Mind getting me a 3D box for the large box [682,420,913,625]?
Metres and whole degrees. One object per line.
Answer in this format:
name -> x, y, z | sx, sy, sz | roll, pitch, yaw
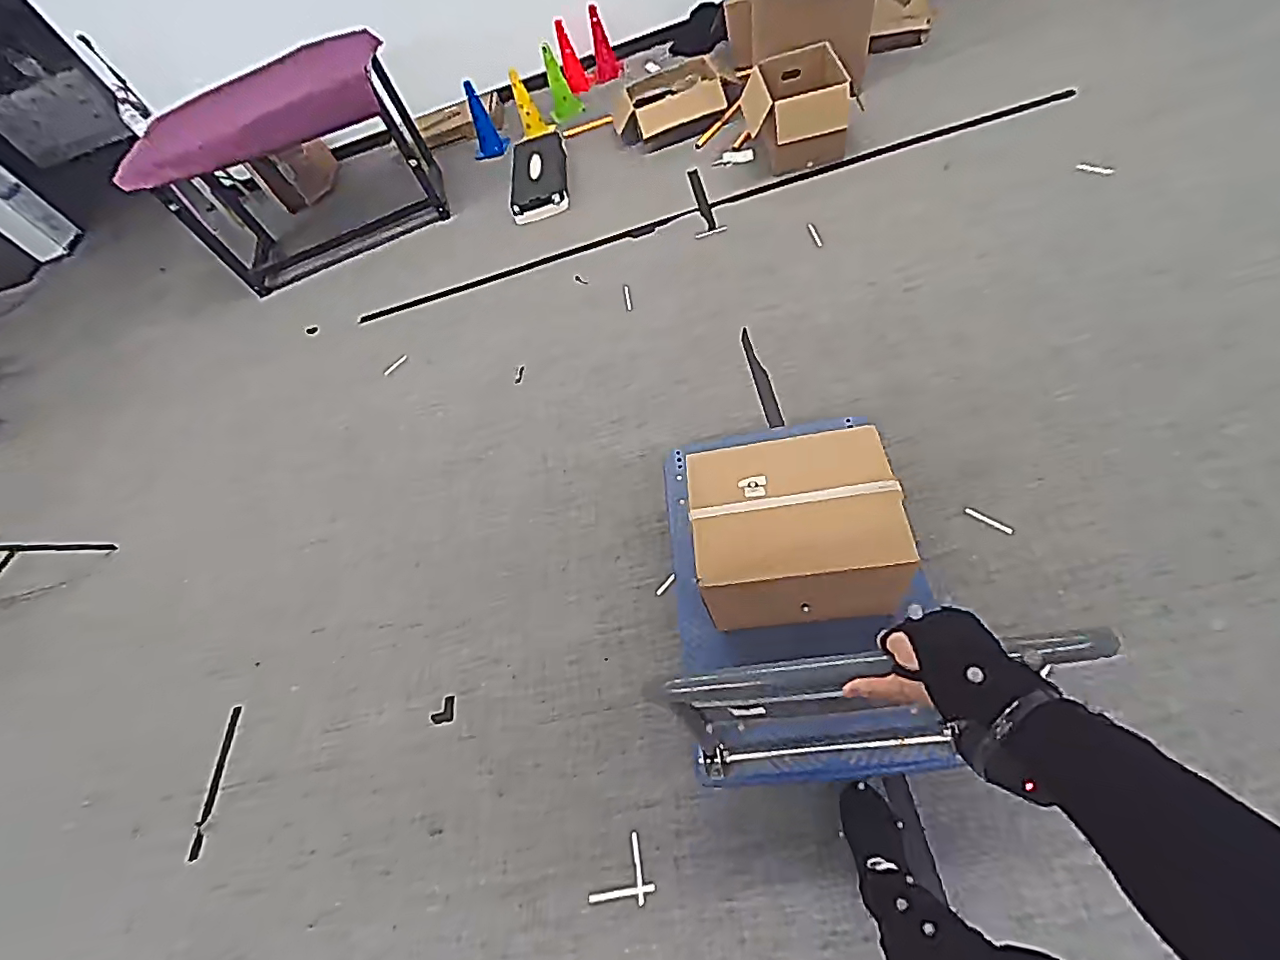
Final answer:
large box -> 0.330, 0.112, 1.201 | 0.408, 0.320, 0.320 | -10, 56, 12
